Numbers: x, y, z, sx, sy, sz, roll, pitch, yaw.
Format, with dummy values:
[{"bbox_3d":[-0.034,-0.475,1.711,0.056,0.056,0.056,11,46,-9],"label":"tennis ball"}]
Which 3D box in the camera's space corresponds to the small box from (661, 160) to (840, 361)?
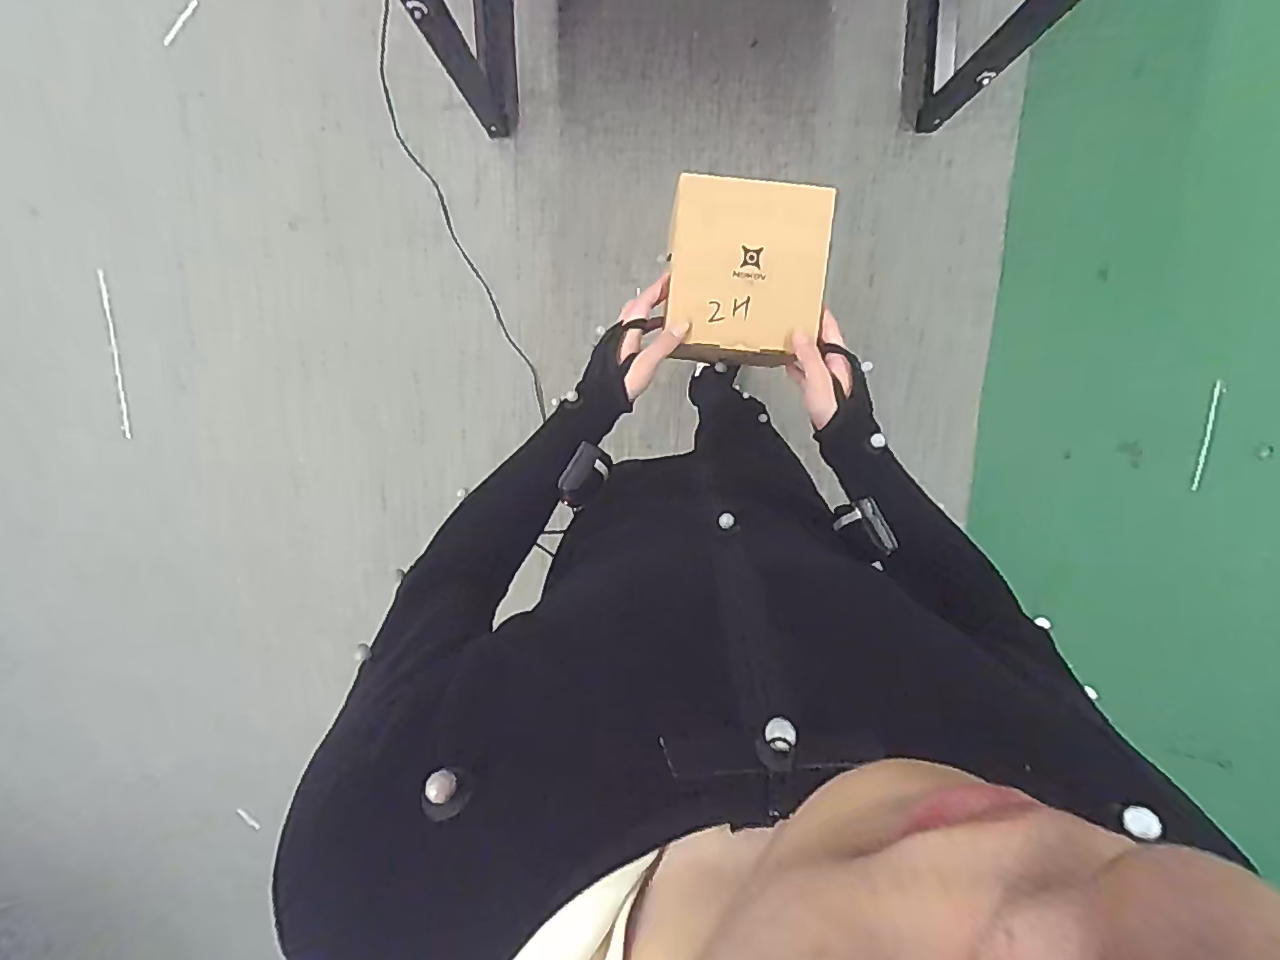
[{"bbox_3d":[0.118,-0.247,0.650,0.168,0.176,0.179,6,97,-2],"label":"small box"}]
